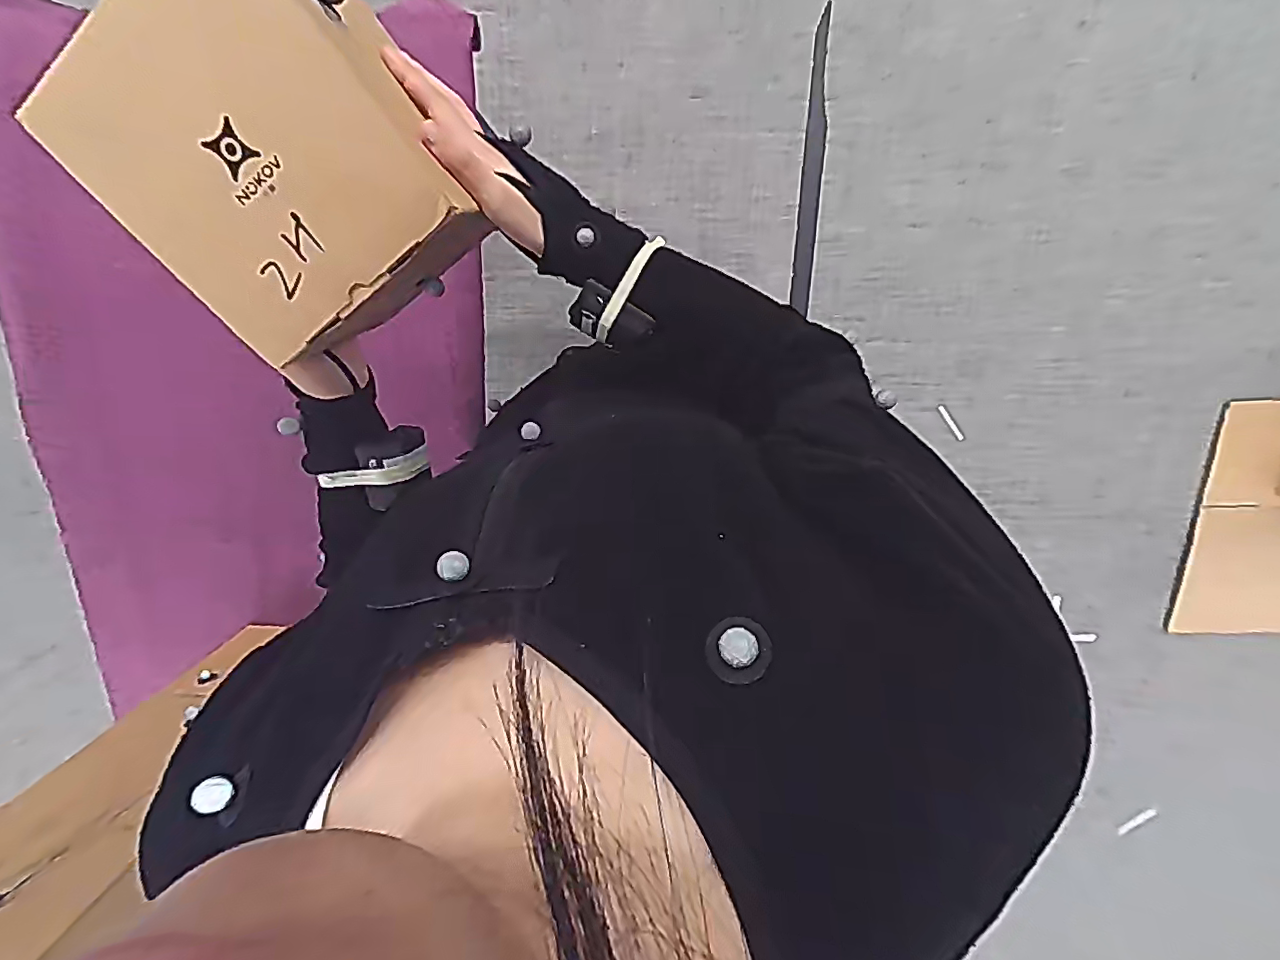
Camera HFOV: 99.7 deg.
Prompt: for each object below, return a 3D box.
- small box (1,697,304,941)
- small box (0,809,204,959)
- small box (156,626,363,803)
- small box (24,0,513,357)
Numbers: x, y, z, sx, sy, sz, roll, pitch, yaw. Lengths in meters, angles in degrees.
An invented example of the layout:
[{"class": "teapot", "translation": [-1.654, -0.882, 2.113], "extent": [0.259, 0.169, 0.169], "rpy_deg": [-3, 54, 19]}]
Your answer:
[{"class": "small box", "translation": [-0.524, 0.367, 0.611], "extent": [0.179, 0.176, 0.168], "rpy_deg": [2, 106, 1]}, {"class": "small box", "translation": [-0.523, 0.407, 0.450], "extent": [0.179, 0.176, 0.168], "rpy_deg": [2, 105, -1]}, {"class": "small box", "translation": [-0.516, 0.323, 0.768], "extent": [0.179, 0.176, 0.168], "rpy_deg": [2, 106, 0]}, {"class": "small box", "translation": [-0.216, -0.216, 0.372], "extent": [0.168, 0.176, 0.179], "rpy_deg": [-32, 112, 15]}]
